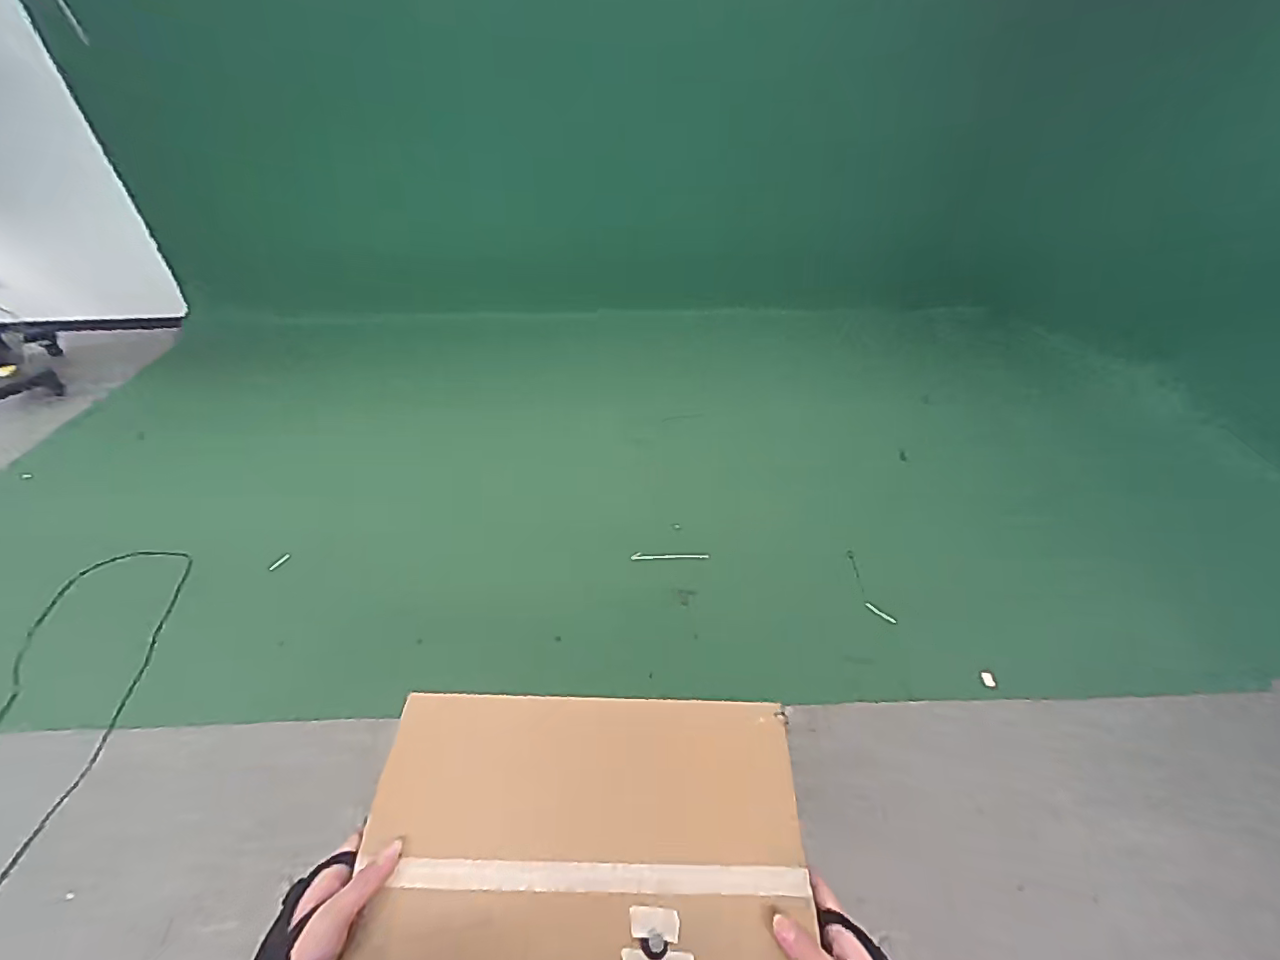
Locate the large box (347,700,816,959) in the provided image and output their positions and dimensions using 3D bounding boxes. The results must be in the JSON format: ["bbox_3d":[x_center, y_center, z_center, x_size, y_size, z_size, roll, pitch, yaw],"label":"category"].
[{"bbox_3d":[-0.052,0.460,0.606,0.408,0.320,0.320,1,48,0],"label":"large box"}]
